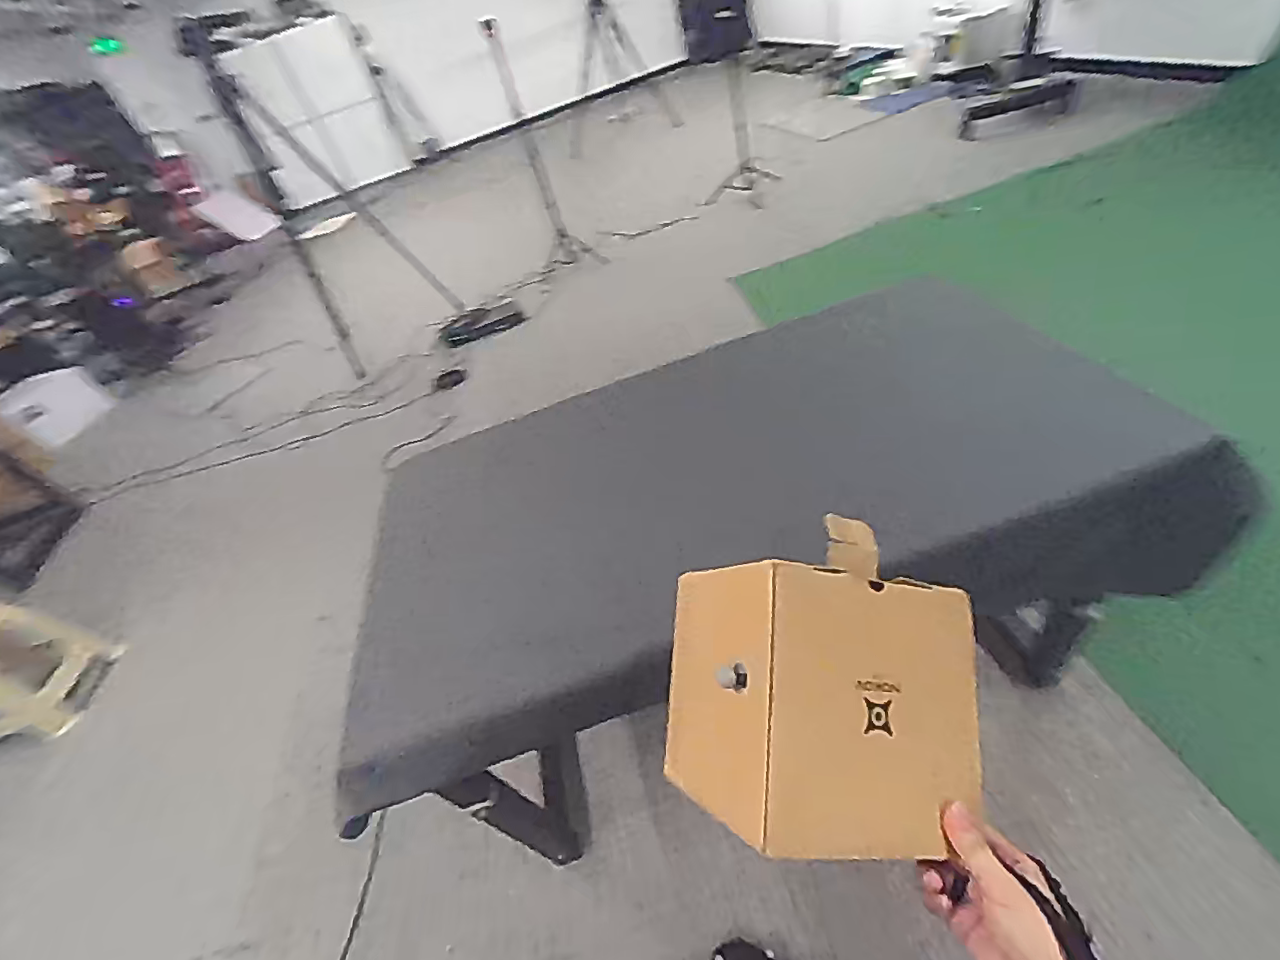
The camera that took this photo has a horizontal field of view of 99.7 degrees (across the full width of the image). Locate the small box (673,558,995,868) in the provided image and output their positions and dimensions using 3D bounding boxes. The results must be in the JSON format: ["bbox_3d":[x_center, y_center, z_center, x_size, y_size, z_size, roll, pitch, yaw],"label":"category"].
[{"bbox_3d":[0.134,0.169,0.422,0.168,0.176,0.179,12,71,-16],"label":"small box"}]
